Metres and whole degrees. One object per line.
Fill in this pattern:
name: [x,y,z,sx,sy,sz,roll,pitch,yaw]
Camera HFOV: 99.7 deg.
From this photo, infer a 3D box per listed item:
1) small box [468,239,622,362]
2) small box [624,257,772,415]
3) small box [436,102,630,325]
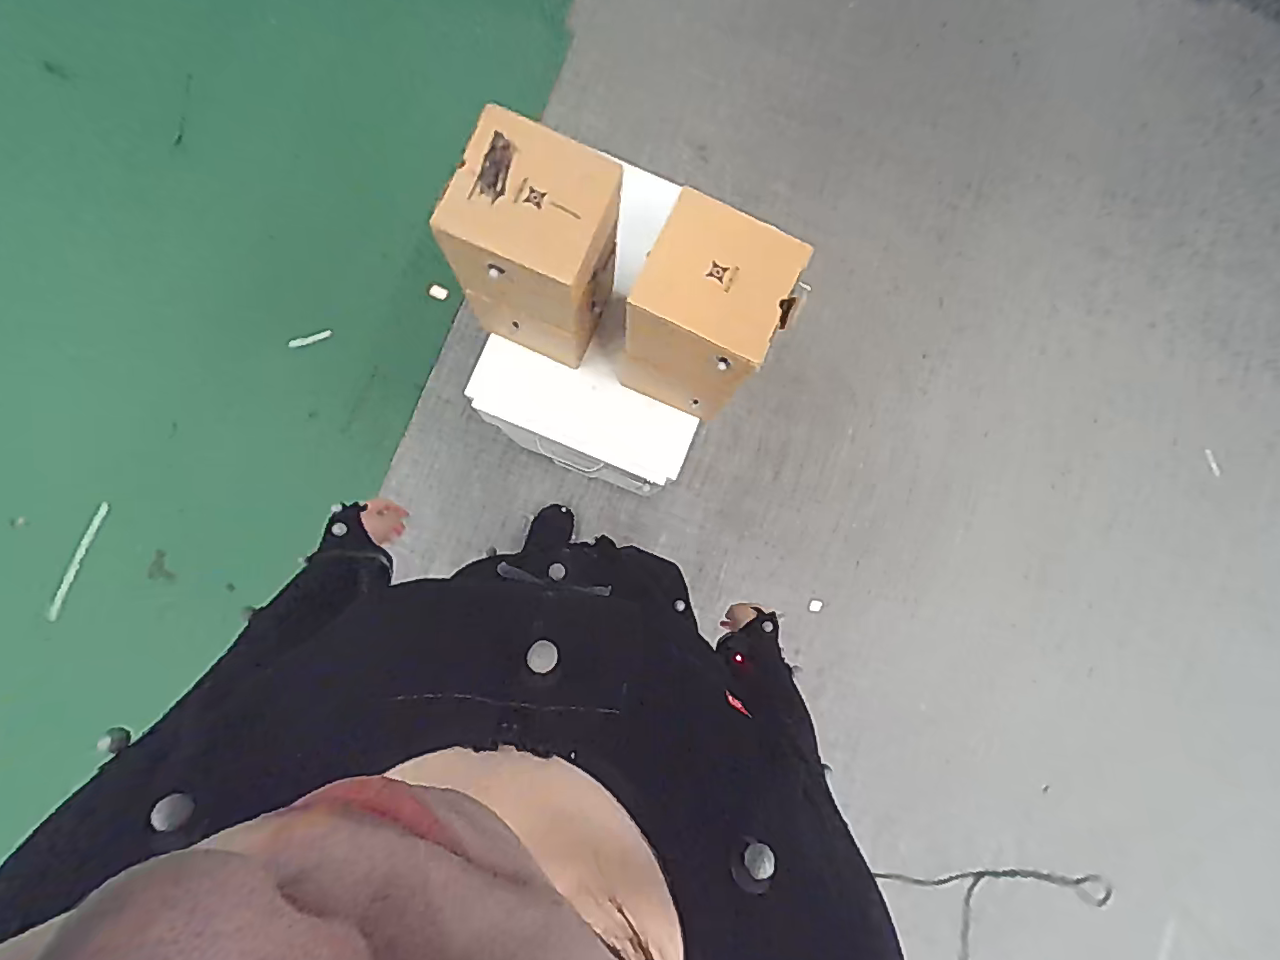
small box: [-0.145,-0.310,0.865,0.179,0.176,0.168,24,85,-4]
small box: [0.084,-0.218,0.876,0.179,0.176,0.168,23,84,0]
small box: [-0.129,-0.326,0.701,0.179,0.176,0.168,23,84,-4]
